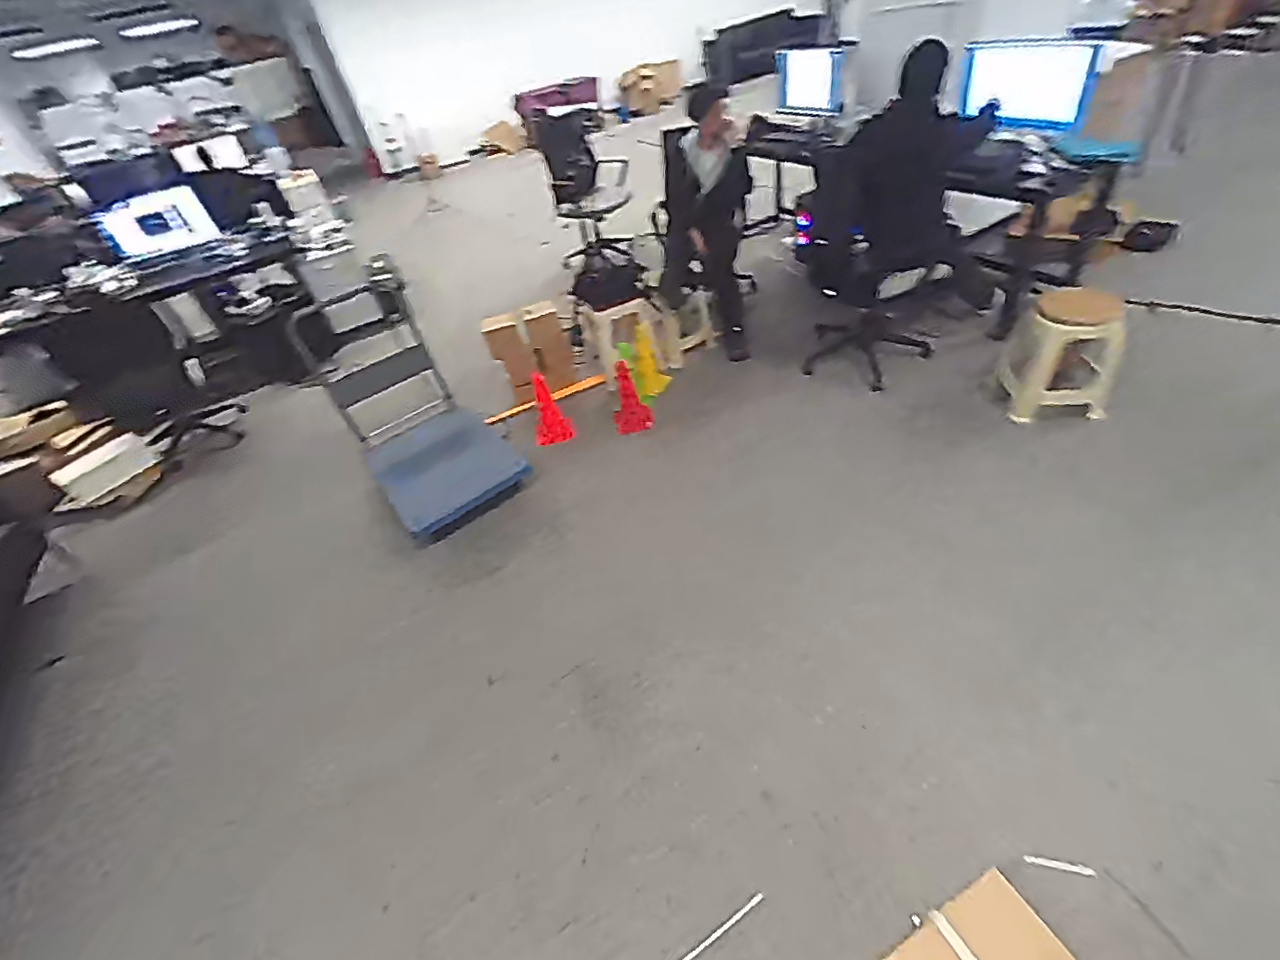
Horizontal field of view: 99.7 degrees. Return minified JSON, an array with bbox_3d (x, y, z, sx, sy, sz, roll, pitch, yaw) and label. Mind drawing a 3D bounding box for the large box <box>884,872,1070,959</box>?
[{"bbox_3d":[0.663,1.036,0.976,0.320,0.320,0.408,-27,44,-15],"label":"large box"}]
